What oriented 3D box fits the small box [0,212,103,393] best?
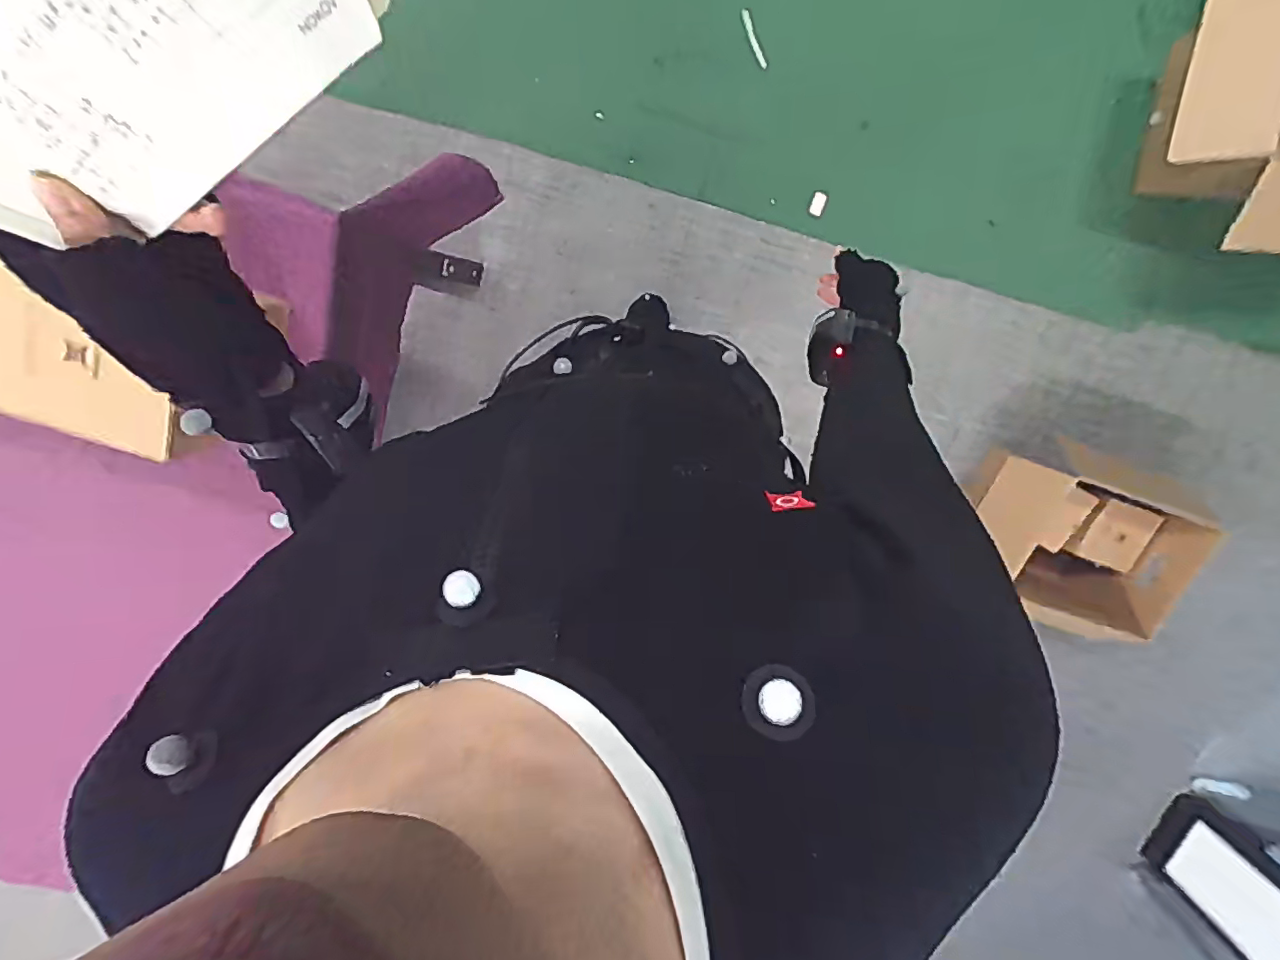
[{"bbox_3d":[-0.727,-0.199,0.563,0.179,0.176,0.168,21,106,-8],"label":"small box"}]
